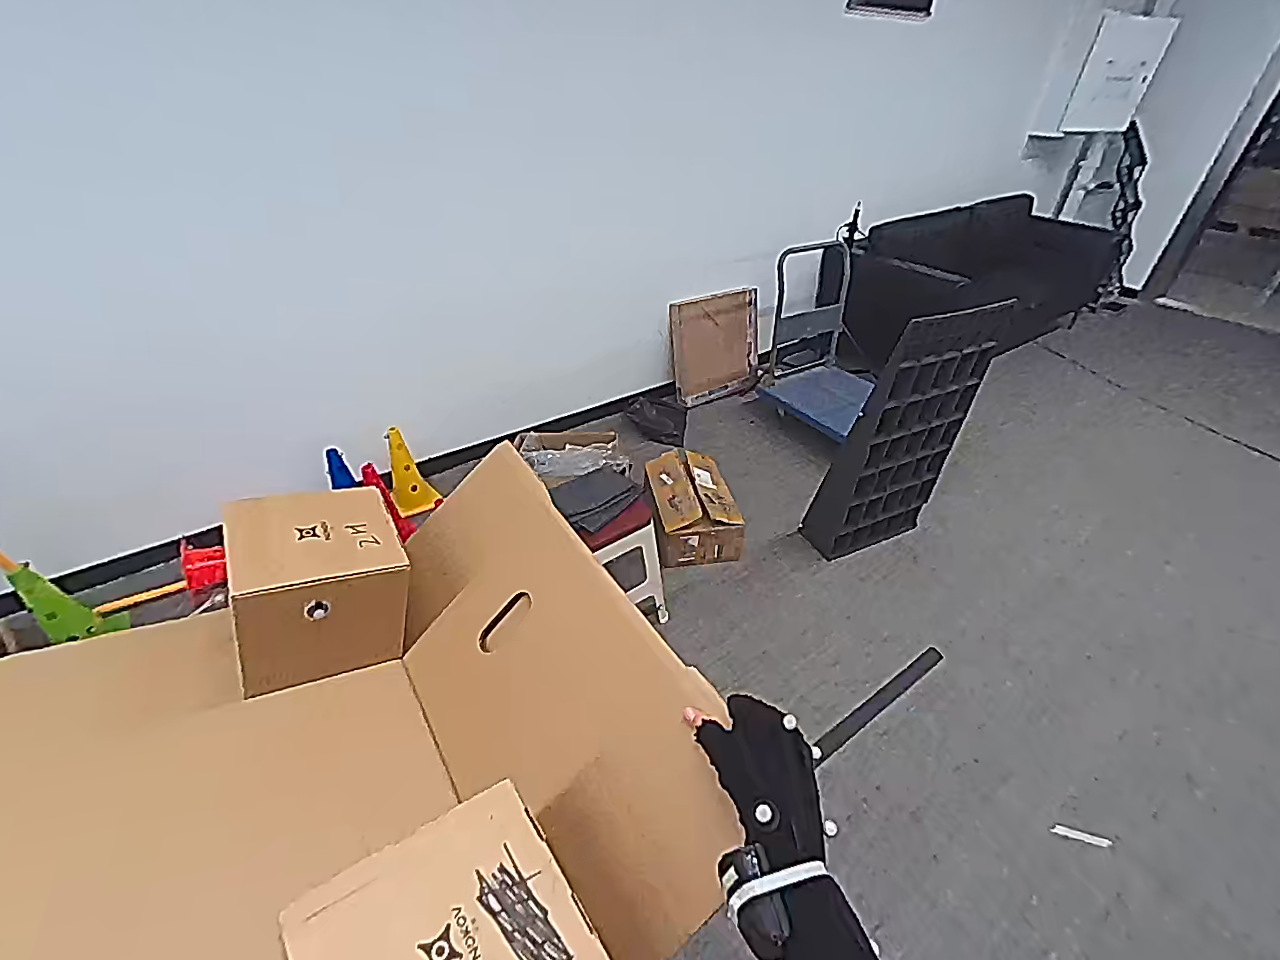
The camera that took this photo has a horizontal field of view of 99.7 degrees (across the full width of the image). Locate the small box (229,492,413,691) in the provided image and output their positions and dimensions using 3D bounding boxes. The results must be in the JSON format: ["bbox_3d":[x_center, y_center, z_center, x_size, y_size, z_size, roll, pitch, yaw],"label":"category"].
[{"bbox_3d":[-0.401,0.135,0.683,0.179,0.176,0.168,-5,38,-36],"label":"small box"}]
